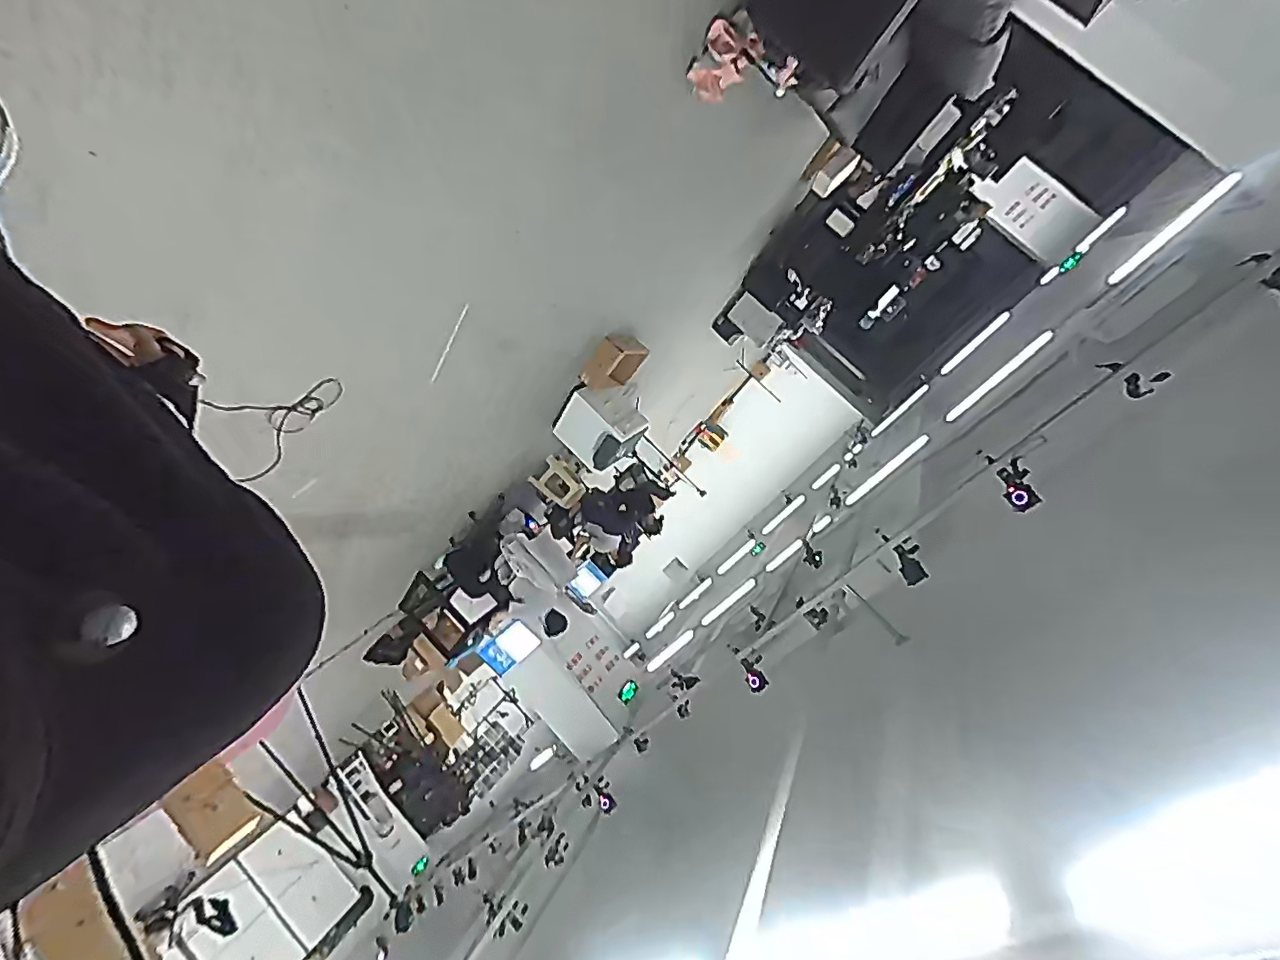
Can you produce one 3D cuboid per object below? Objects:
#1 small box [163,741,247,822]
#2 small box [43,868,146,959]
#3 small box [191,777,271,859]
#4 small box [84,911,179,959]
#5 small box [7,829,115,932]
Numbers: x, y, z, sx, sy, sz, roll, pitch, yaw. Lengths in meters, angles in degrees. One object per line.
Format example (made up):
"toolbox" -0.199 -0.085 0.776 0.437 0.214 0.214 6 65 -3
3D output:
"small box" -1.600 1.103 1.989 0.168 0.176 0.179 -50 171 33
"small box" -1.655 1.334 1.638 0.168 0.176 0.179 -51 172 32
"small box" -1.489 1.223 1.965 0.179 0.176 0.168 -50 172 33
"small box" -1.539 1.450 1.620 0.168 0.176 0.179 -51 172 33
"small box" -1.771 1.219 1.657 0.168 0.176 0.179 -51 171 31
